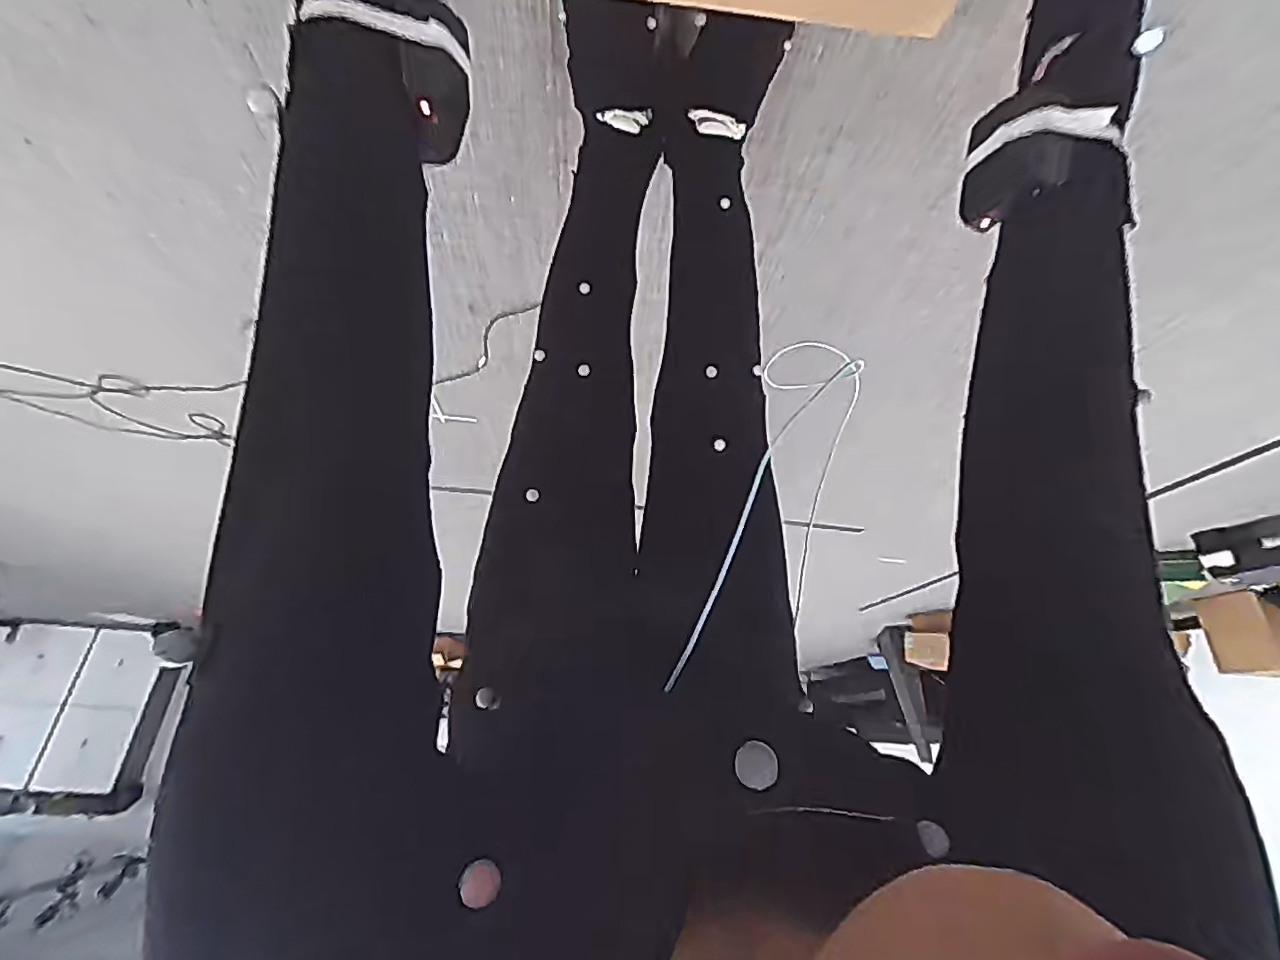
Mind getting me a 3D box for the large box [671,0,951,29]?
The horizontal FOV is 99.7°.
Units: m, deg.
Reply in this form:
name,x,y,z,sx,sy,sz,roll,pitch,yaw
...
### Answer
name,x,y,z,sx,sy,sz,roll,pitch,yaw
large box,0.068,-0.589,0.369,0.408,0.320,0.320,4,156,-4
